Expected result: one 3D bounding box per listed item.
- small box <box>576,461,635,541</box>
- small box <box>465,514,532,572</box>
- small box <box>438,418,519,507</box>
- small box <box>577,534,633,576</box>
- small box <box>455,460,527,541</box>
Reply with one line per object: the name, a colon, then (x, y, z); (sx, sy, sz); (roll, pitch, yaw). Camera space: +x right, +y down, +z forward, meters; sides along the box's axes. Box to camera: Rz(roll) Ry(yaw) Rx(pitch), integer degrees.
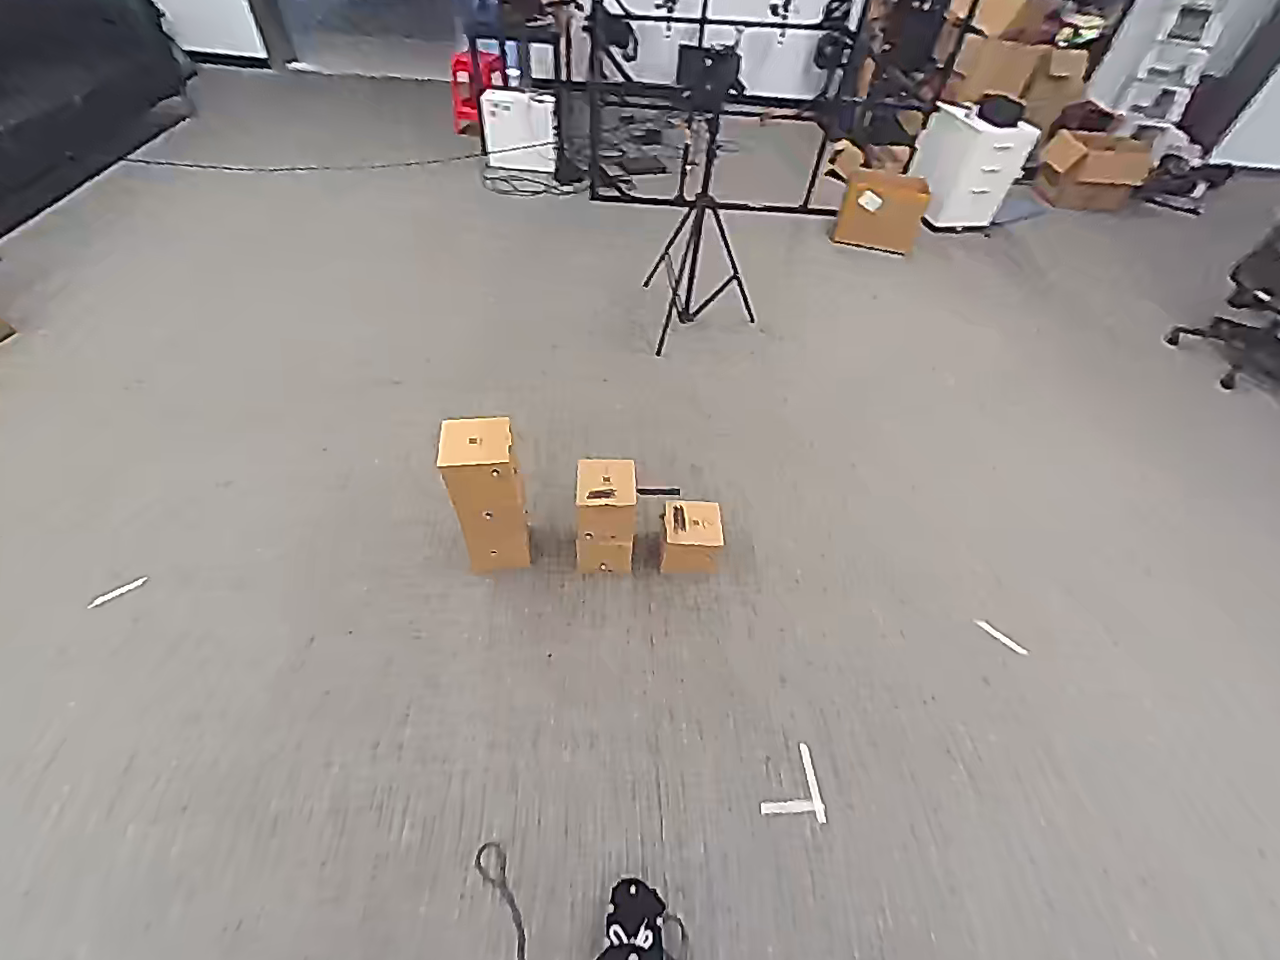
small box: (-0.099, 0.064, 1.579); (0.168, 0.176, 0.179); (1, 48, -5)
small box: (-0.435, 0.170, 1.674); (0.179, 0.176, 0.168); (-6, 50, -9)
small box: (-0.419, -0.043, 1.428); (0.179, 0.176, 0.168); (-4, 51, -9)
small box: (-0.107, 0.179, 1.696); (0.168, 0.176, 0.179); (3, 49, -2)
small box: (-0.421, 0.063, 1.552); (0.179, 0.176, 0.168); (-4, 51, -10)
